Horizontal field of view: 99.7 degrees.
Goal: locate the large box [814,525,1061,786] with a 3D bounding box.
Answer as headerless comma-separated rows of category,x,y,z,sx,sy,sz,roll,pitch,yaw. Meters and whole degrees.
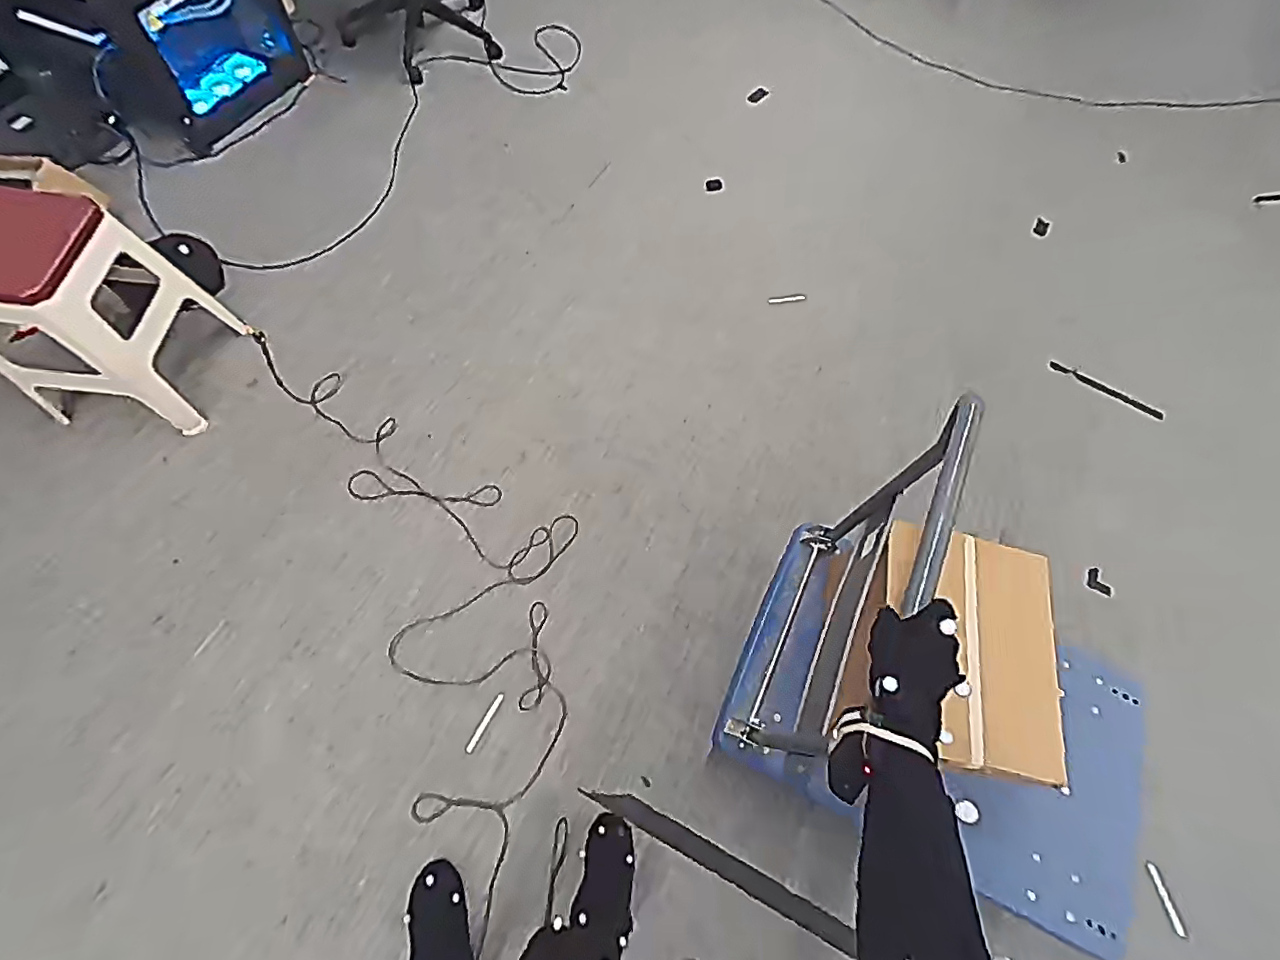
large box,0.572,0.352,1.105,0.320,0.320,0.408,13,66,1
